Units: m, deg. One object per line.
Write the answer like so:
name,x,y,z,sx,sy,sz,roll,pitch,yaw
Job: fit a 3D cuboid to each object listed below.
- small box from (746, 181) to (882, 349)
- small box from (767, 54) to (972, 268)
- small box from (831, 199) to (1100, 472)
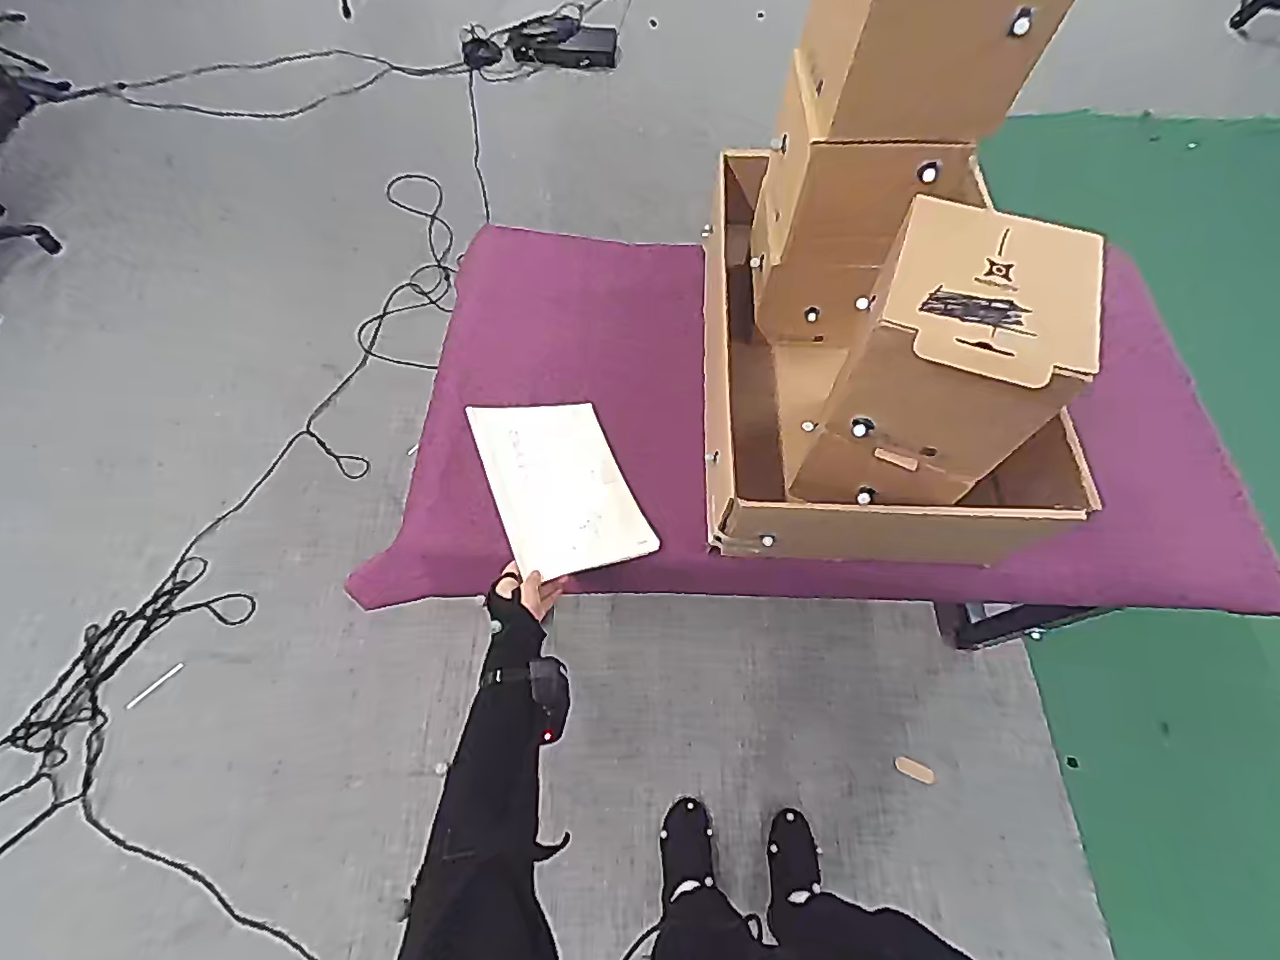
small box,0.255,-0.315,0.811,0.168,0.176,0.179,2,65,2
small box,0.258,-0.381,0.663,0.179,0.176,0.168,0,65,1
small box,0.303,-0.133,0.533,0.168,0.176,0.179,20,64,12
